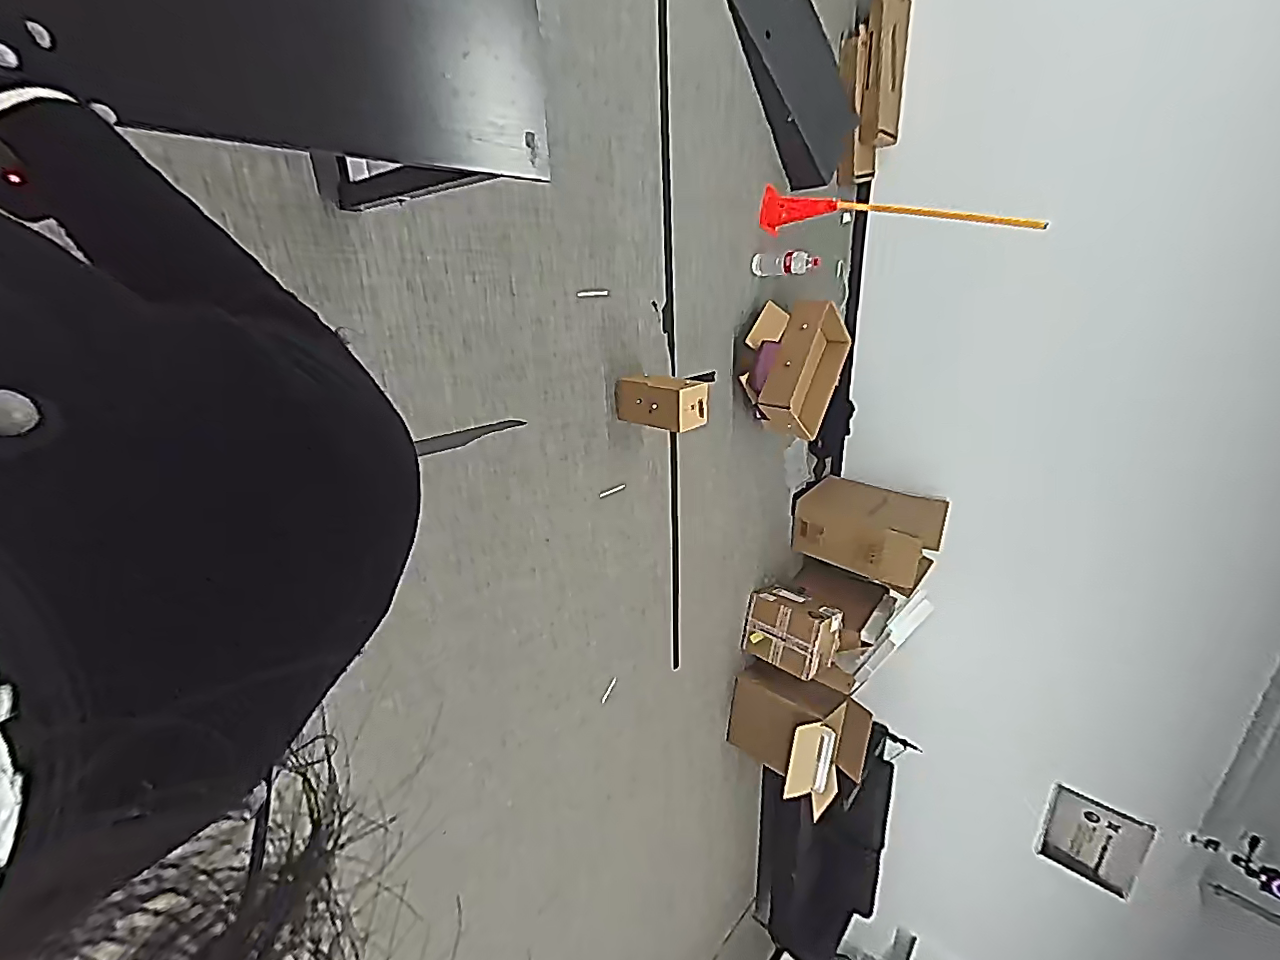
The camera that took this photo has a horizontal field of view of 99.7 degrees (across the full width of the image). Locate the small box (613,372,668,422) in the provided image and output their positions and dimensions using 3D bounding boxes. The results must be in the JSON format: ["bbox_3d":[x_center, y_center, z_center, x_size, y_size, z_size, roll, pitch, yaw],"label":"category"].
[{"bbox_3d":[0.001,-0.341,2.208,0.168,0.176,0.179,-23,120,-43],"label":"small box"}]

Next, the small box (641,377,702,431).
[{"bbox_3d":[0.121,-0.301,2.101,0.179,0.176,0.168,-23,119,-43],"label":"small box"}]
